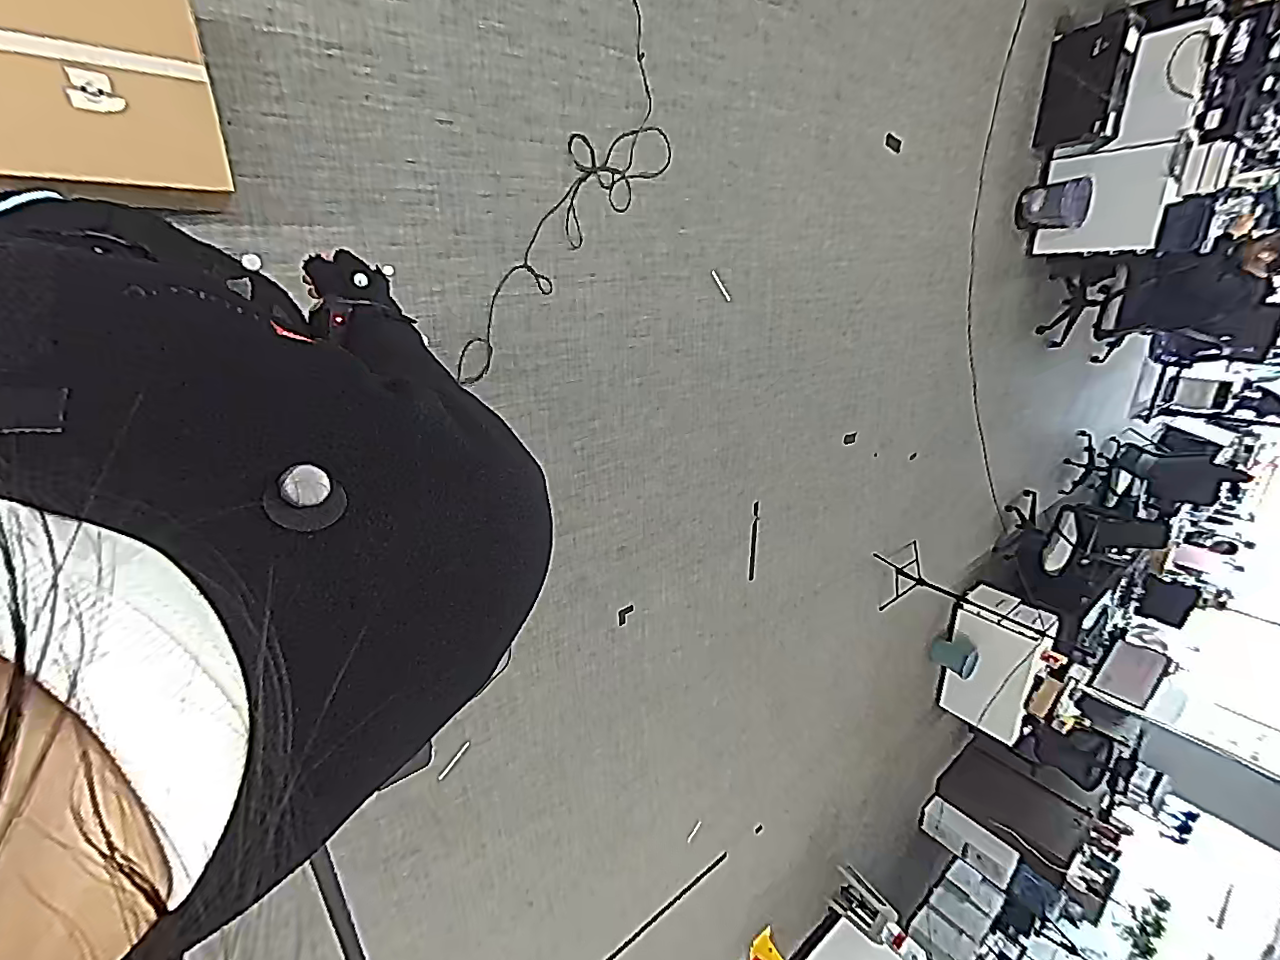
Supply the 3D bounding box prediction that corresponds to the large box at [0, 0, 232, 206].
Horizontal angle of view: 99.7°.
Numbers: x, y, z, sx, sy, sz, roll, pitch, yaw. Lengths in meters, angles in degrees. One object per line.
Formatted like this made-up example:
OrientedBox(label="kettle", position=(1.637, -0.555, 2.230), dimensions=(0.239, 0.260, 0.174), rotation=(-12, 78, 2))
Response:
OrientedBox(label="large box", position=(-0.902, -0.607, 0.808), dimensions=(0.408, 0.320, 0.320), rotation=(-16, 116, -36))
